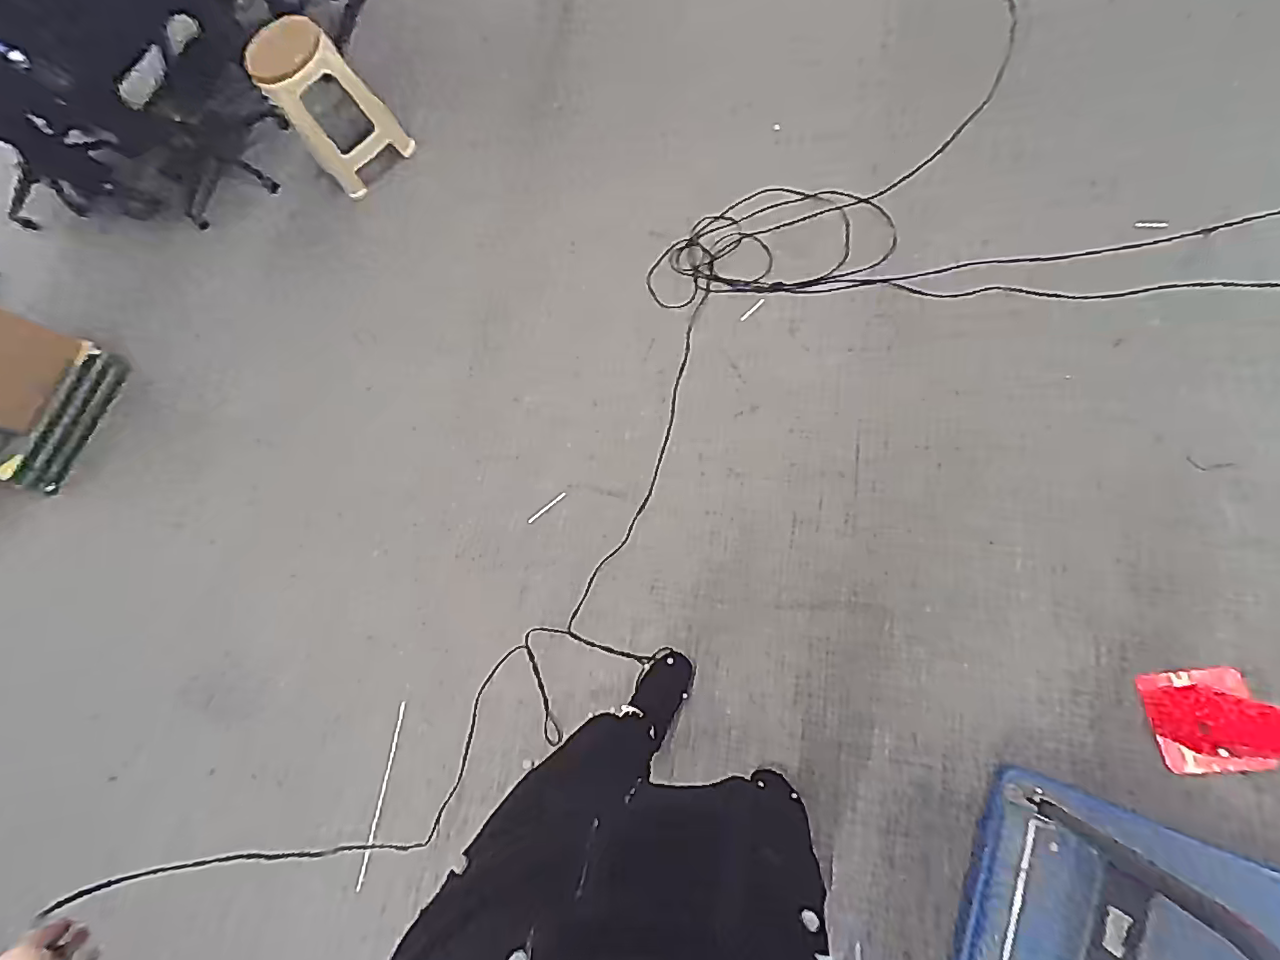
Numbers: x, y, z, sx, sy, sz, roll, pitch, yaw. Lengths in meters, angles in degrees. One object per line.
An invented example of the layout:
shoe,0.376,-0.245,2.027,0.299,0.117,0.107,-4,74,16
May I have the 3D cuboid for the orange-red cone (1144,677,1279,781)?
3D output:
orange-red cone,1.171,0.474,0.990,0.198,0.360,0.199,-8,70,10
